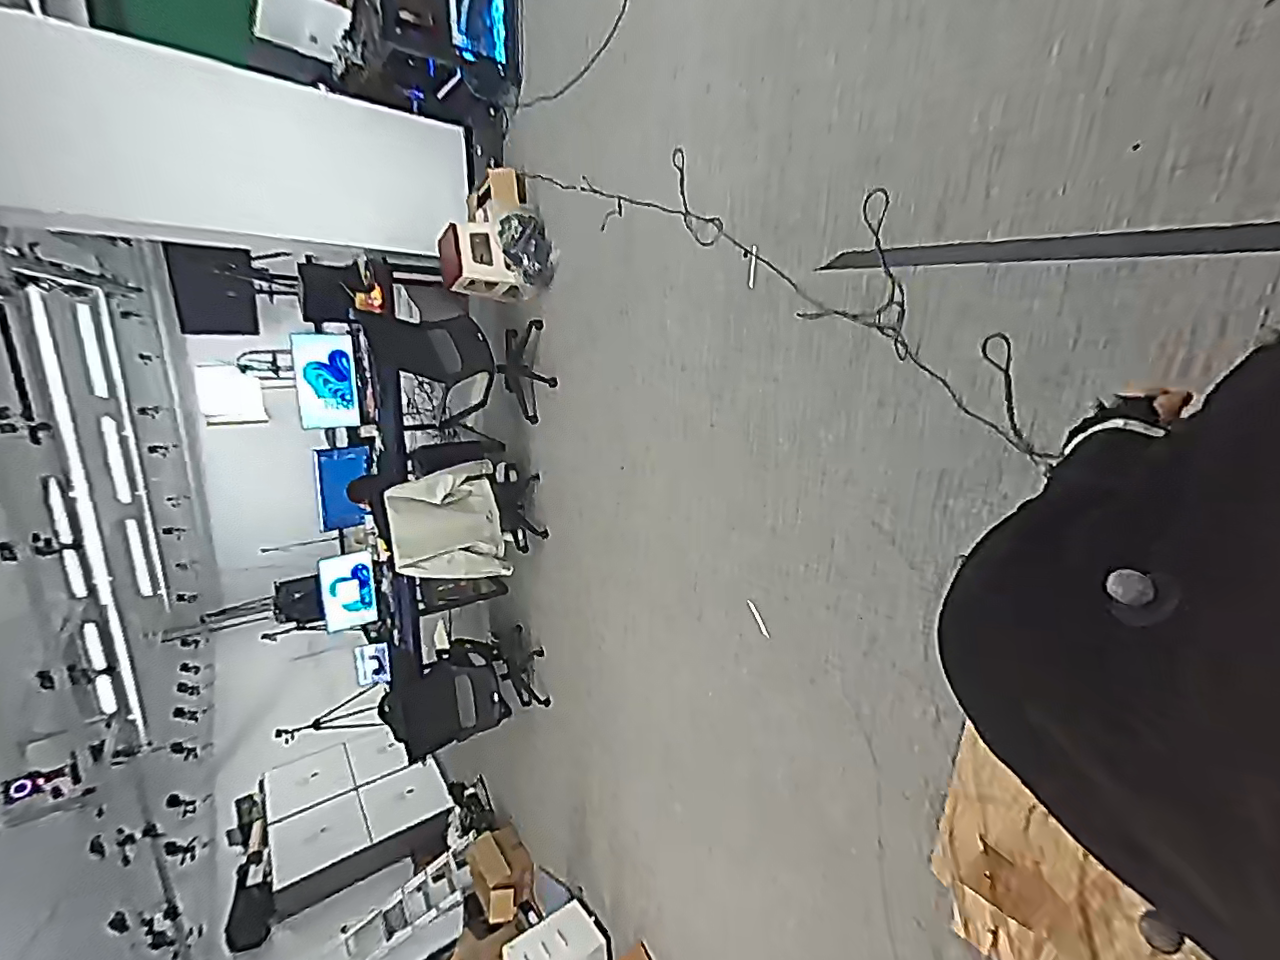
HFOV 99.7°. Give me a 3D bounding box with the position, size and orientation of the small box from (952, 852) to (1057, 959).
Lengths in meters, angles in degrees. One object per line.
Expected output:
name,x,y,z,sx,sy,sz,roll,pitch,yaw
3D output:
small box,0.959,1.132,1.425,0.179,0.176,0.168,14,110,51
